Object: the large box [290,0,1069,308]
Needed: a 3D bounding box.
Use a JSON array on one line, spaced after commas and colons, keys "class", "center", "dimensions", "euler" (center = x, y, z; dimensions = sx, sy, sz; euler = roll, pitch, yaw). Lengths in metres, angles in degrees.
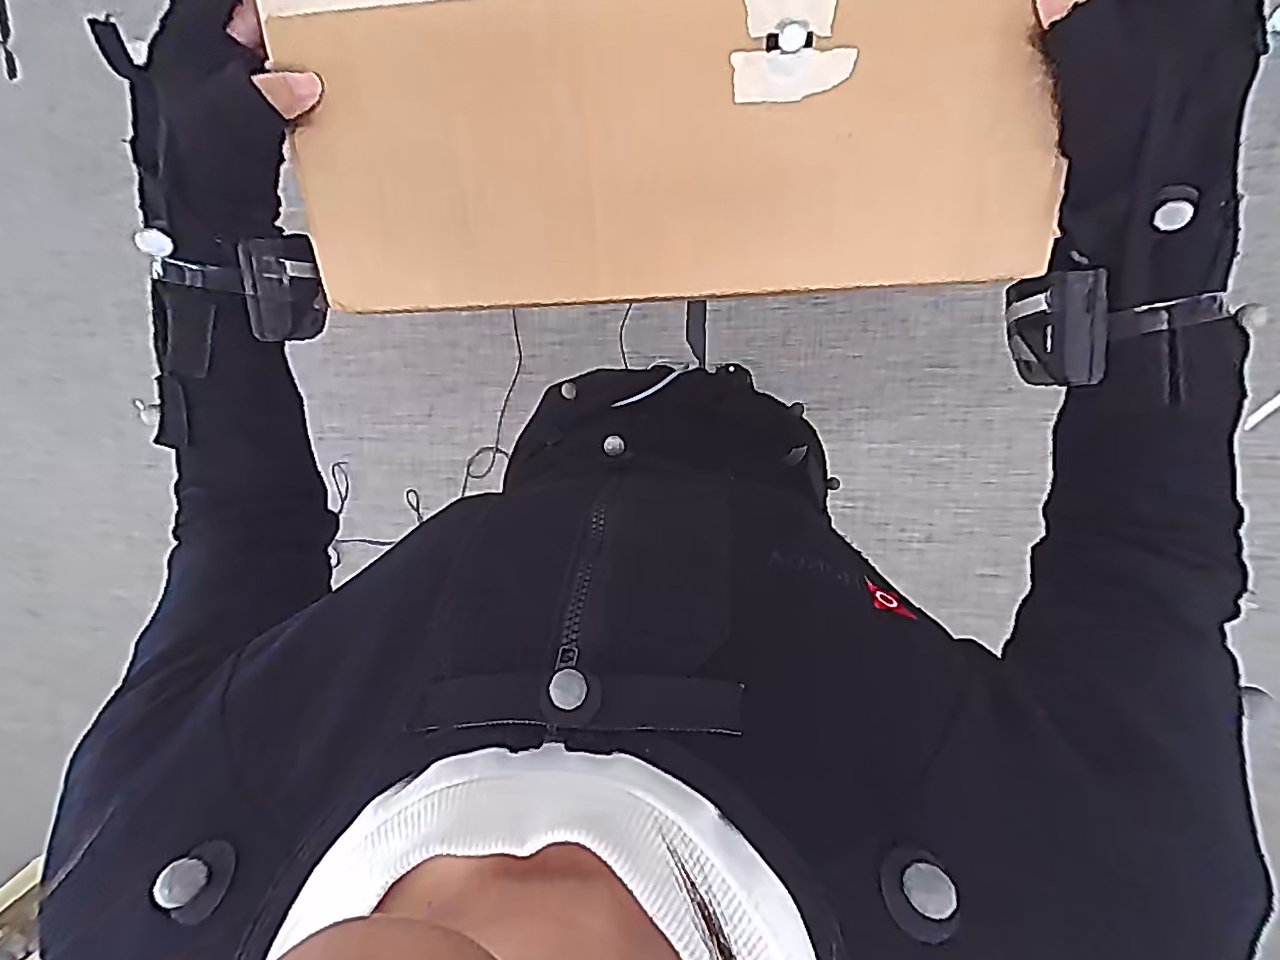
[{"class": "large box", "center": [0.020, -0.309, 0.411], "dimensions": [0.408, 0.320, 0.320], "euler": [-2, 109, 5]}]
